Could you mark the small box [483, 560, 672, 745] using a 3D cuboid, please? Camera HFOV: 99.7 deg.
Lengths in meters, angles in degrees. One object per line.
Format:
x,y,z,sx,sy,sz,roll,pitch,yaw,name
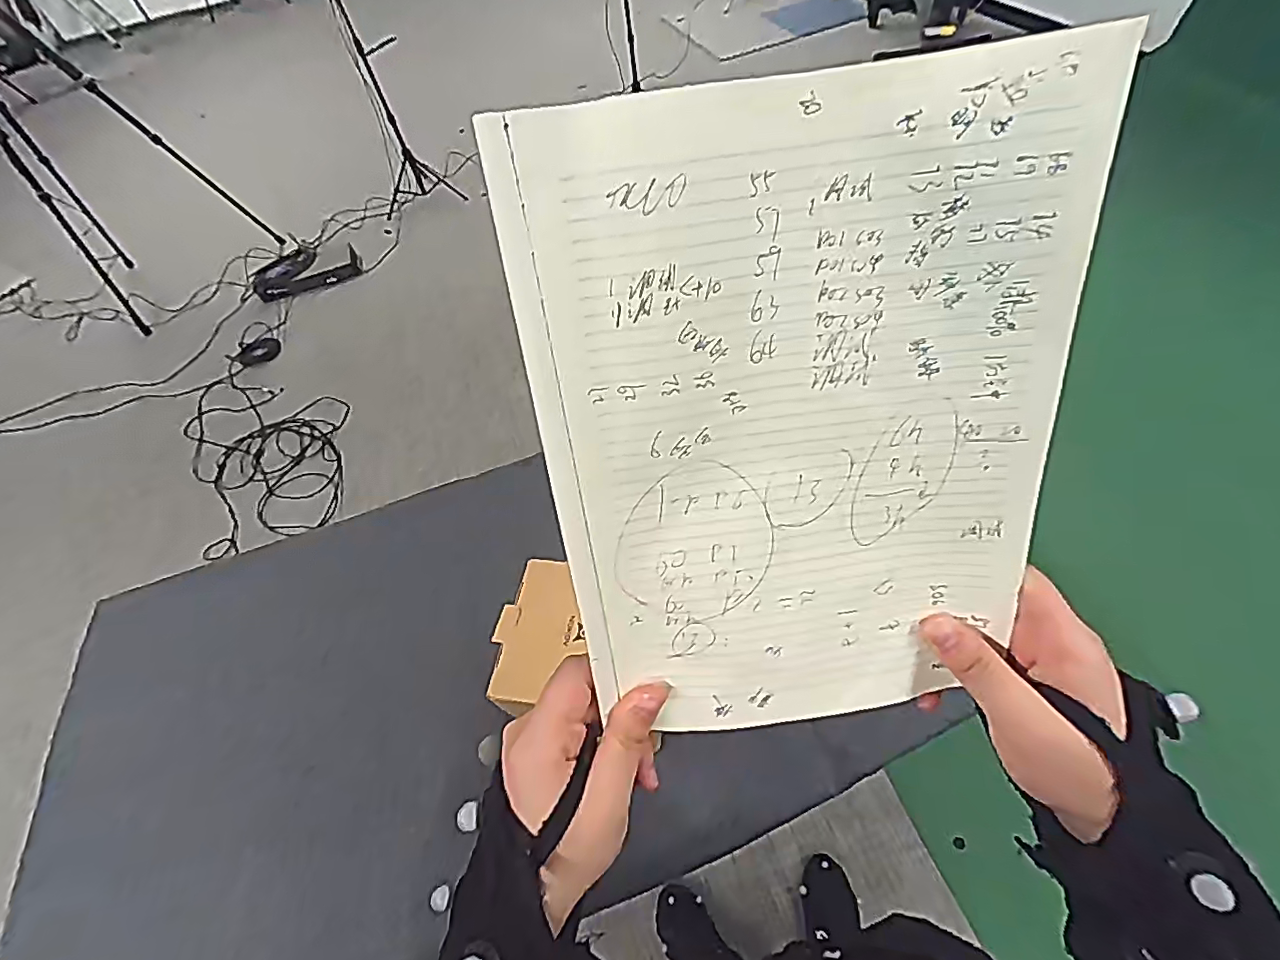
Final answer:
-0.059,0.215,0.661,0.179,0.176,0.168,3,56,12,small box
